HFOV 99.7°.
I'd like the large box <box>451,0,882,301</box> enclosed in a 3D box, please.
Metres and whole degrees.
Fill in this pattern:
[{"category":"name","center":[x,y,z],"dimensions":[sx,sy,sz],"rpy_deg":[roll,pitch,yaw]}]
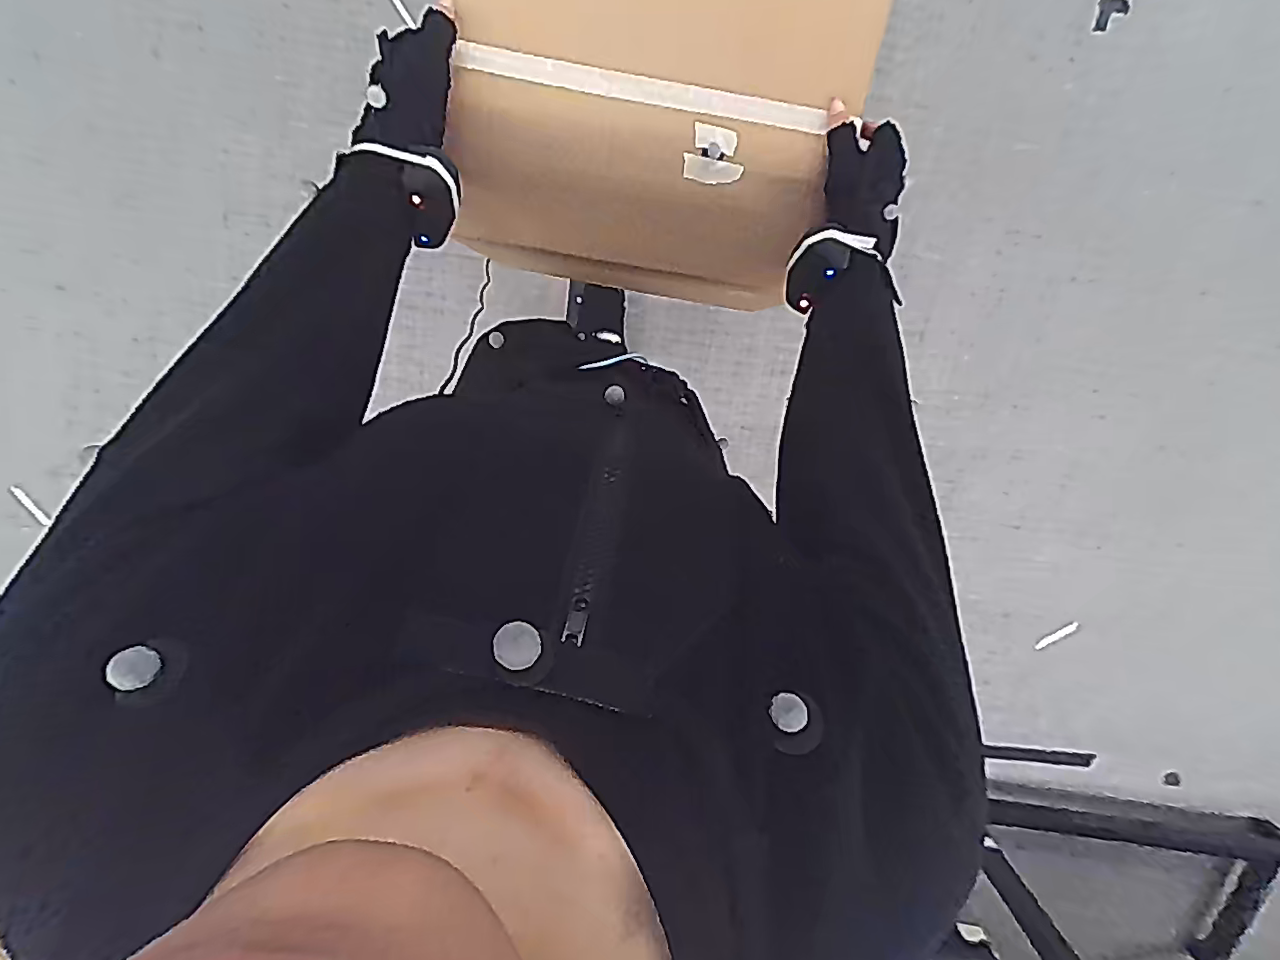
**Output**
[{"category":"large box","center":[0.015,-0.421,0.676],"dimensions":[0.408,0.320,0.320],"rpy_deg":[8,105,-4]}]
